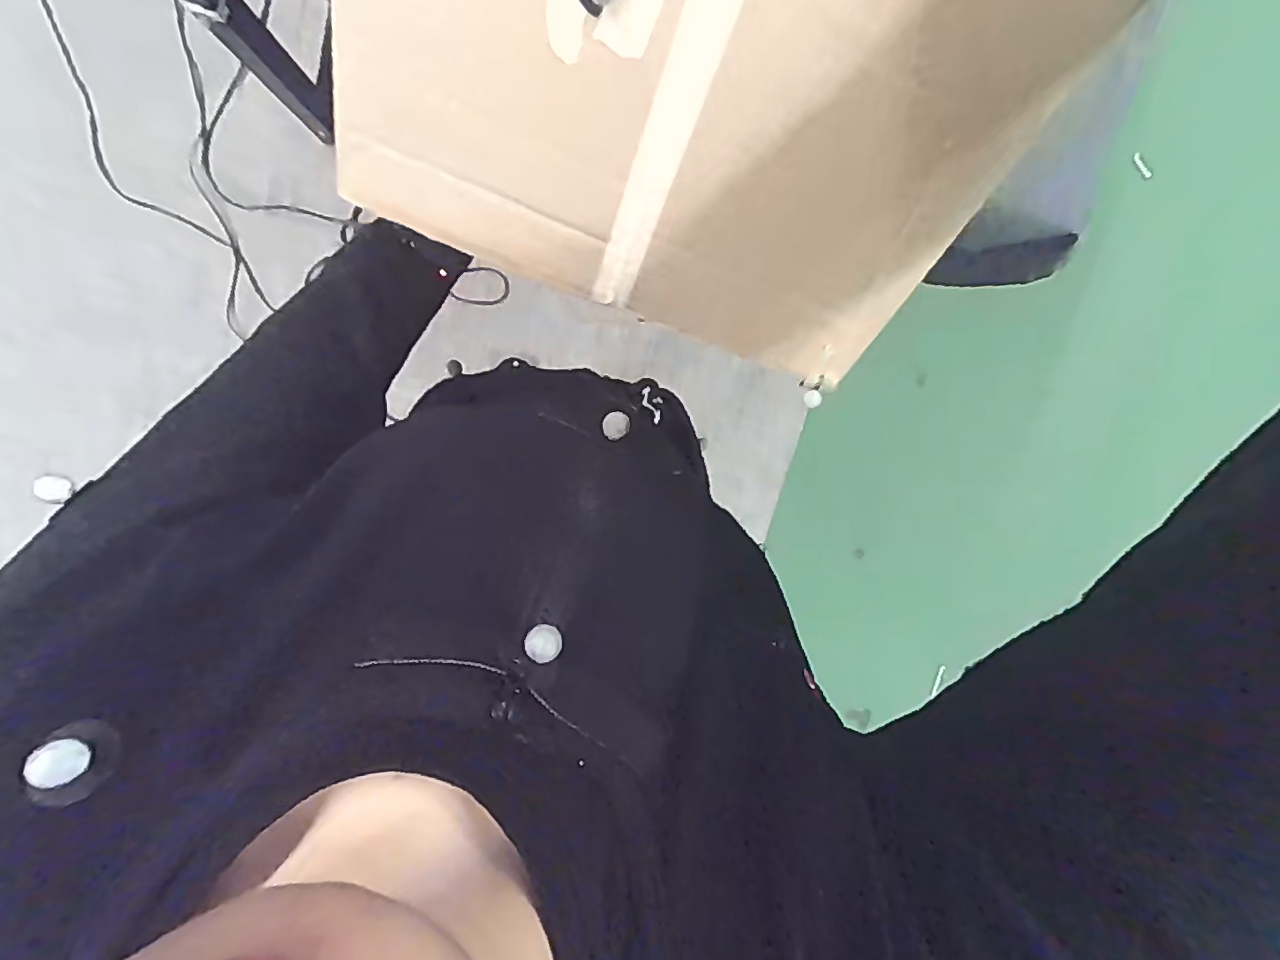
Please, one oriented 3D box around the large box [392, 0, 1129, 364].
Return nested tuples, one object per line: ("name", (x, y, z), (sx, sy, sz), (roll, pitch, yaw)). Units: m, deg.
("large box", (0.076, -0.353, 0.306), (0.320, 0.320, 0.408), (18, 136, -10))
